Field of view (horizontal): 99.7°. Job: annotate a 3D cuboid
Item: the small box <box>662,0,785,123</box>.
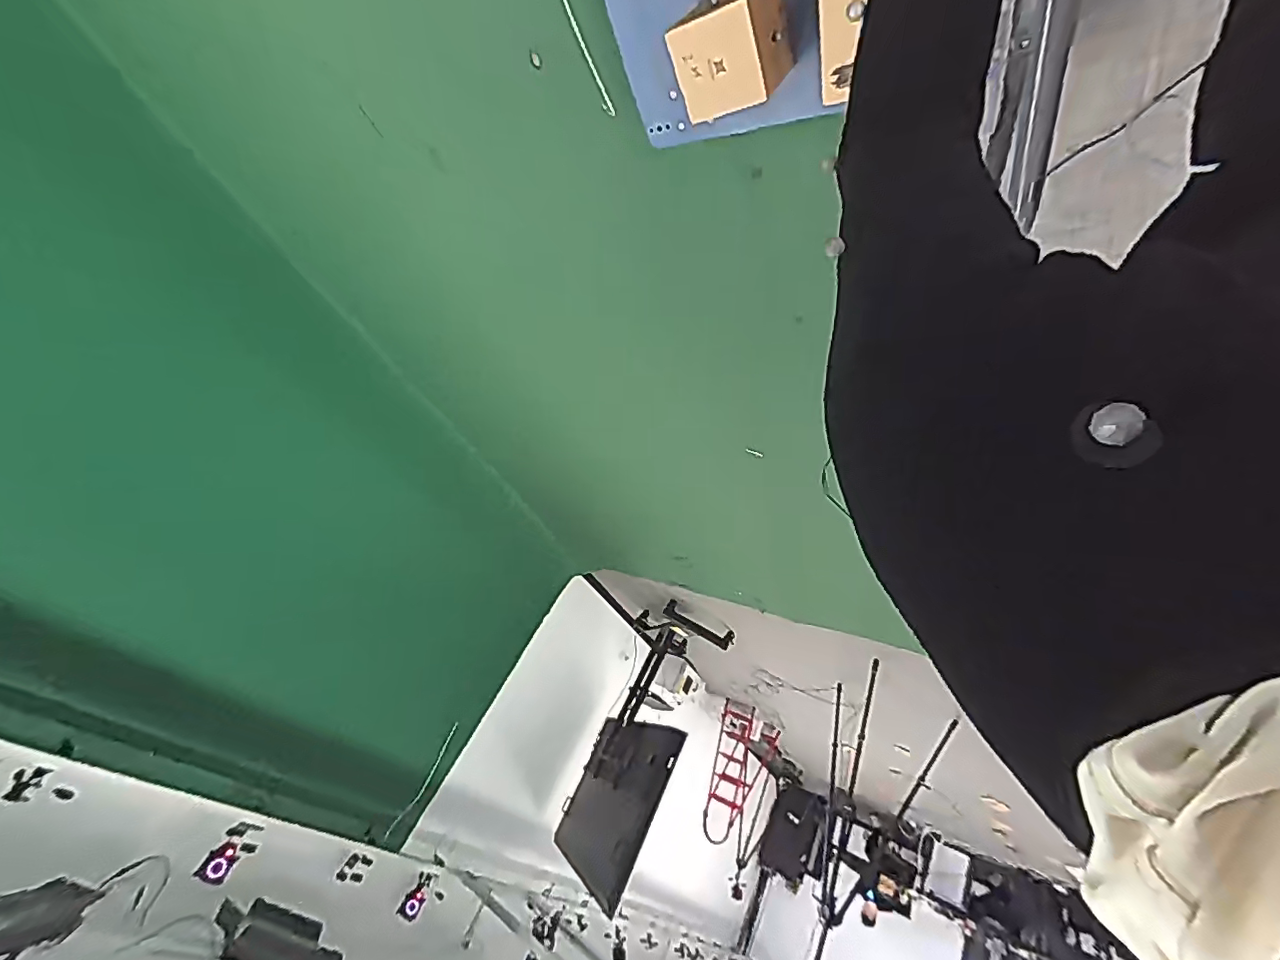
[{"bbox_3d":[0.176,-0.857,1.077,0.179,0.176,0.168,8,144,35],"label":"small box"}]
